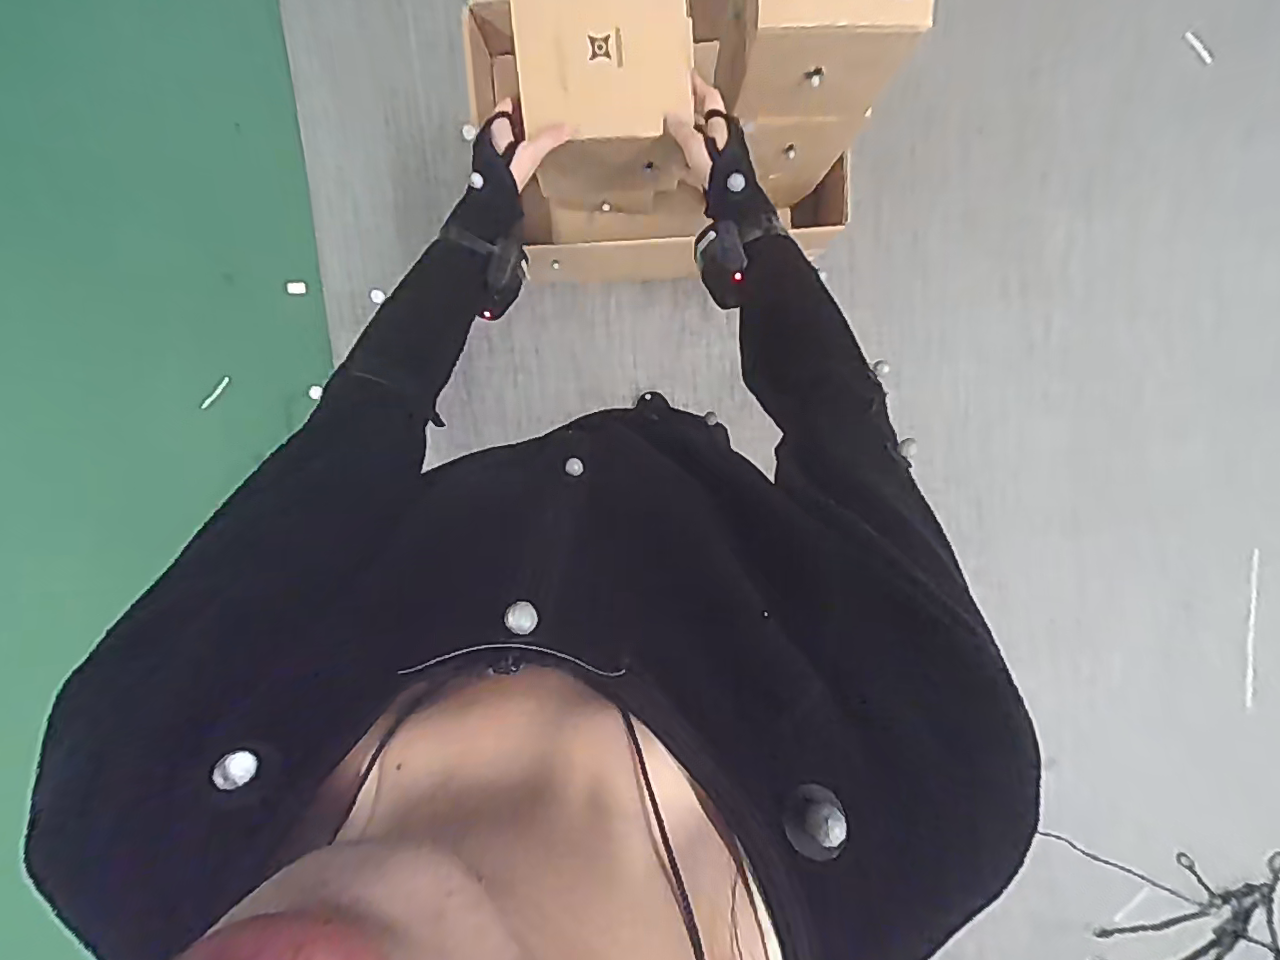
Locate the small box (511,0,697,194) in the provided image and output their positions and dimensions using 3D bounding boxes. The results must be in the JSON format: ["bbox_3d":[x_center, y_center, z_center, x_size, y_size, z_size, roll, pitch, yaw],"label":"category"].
[{"bbox_3d":[-0.039,-0.436,0.603,0.179,0.176,0.168,-5,101,-2],"label":"small box"}]

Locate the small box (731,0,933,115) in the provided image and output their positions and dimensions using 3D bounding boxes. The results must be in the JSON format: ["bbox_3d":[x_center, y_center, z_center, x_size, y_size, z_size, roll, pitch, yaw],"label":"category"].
[{"bbox_3d":[0.203,-0.537,0.602,0.179,0.176,0.168,0,98,1],"label":"small box"}]
